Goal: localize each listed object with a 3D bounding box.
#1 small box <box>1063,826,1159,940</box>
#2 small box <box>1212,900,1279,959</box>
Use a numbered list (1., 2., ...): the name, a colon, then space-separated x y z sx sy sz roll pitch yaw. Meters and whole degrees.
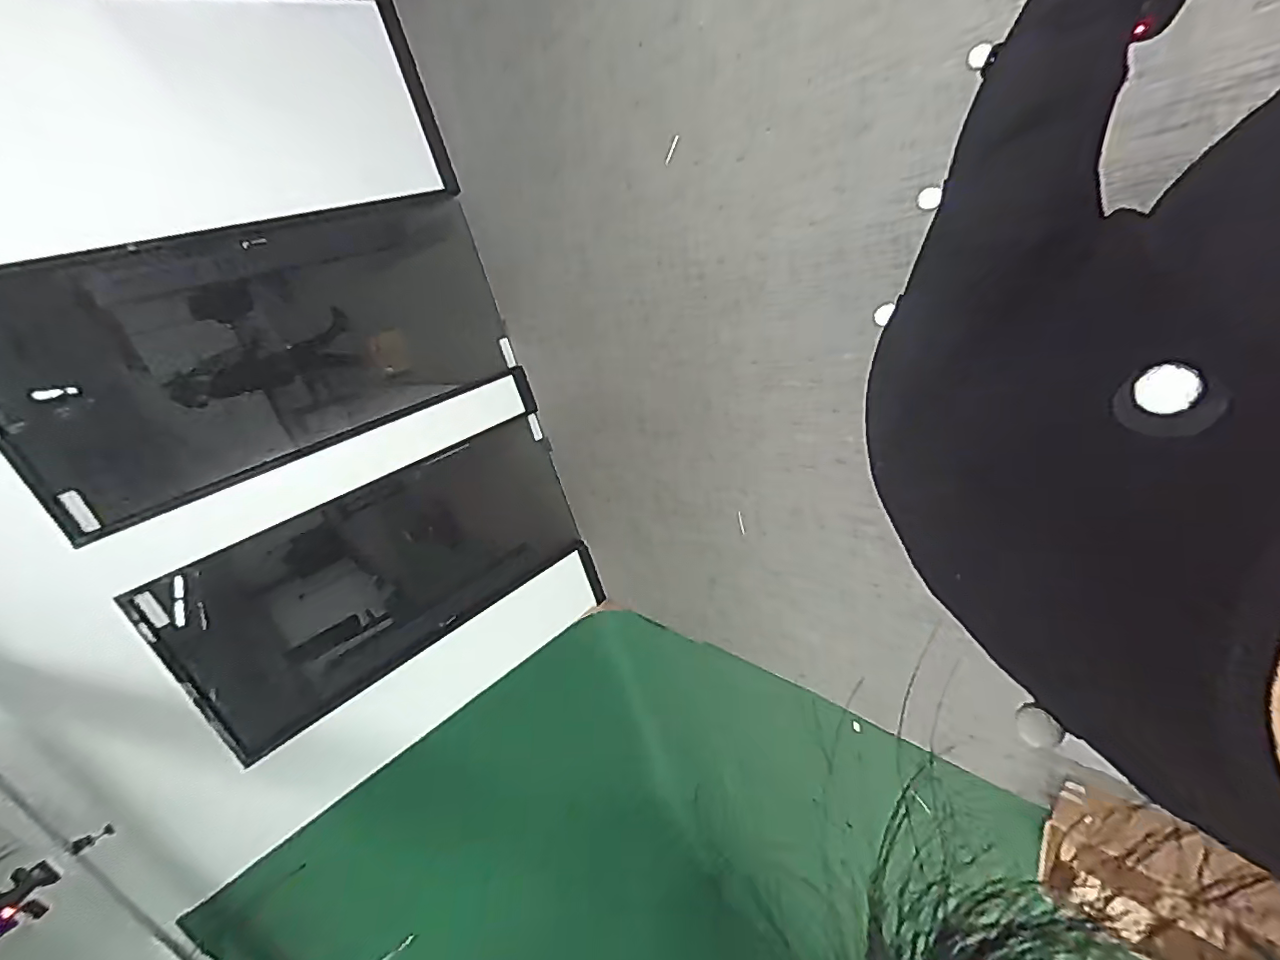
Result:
1. small box: 1.397 1.187 1.603 0.168 0.176 0.179 21 130 42
2. small box: 1.600 1.235 1.373 0.179 0.176 0.168 15 127 46
